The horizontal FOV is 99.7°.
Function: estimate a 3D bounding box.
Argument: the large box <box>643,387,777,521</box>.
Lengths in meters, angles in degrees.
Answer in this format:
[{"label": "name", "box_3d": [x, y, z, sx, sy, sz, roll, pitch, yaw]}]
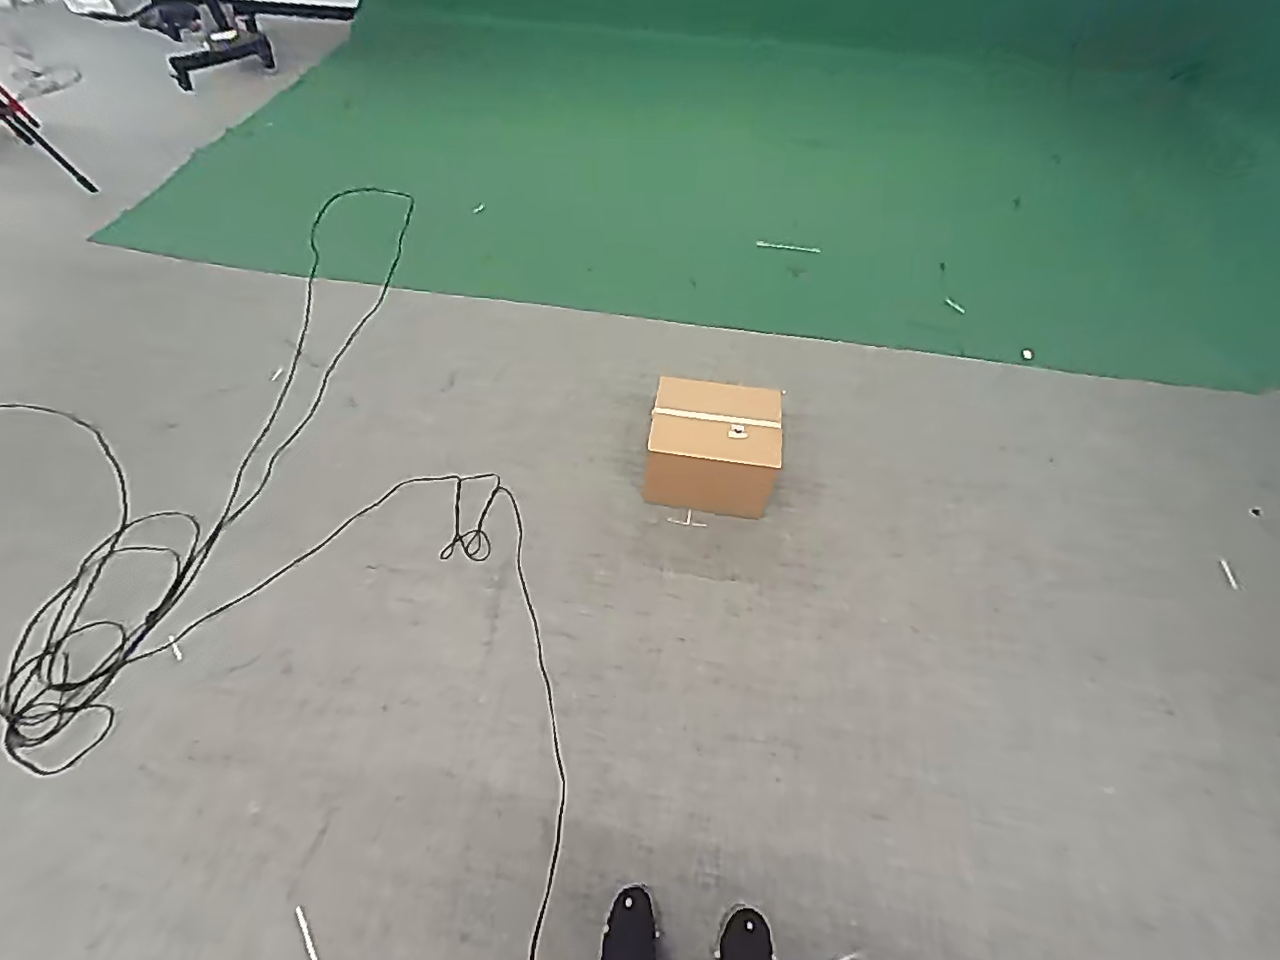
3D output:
[{"label": "large box", "box_3d": [0.227, -0.083, 1.835, 0.408, 0.320, 0.320, 7, 56, 3]}]
